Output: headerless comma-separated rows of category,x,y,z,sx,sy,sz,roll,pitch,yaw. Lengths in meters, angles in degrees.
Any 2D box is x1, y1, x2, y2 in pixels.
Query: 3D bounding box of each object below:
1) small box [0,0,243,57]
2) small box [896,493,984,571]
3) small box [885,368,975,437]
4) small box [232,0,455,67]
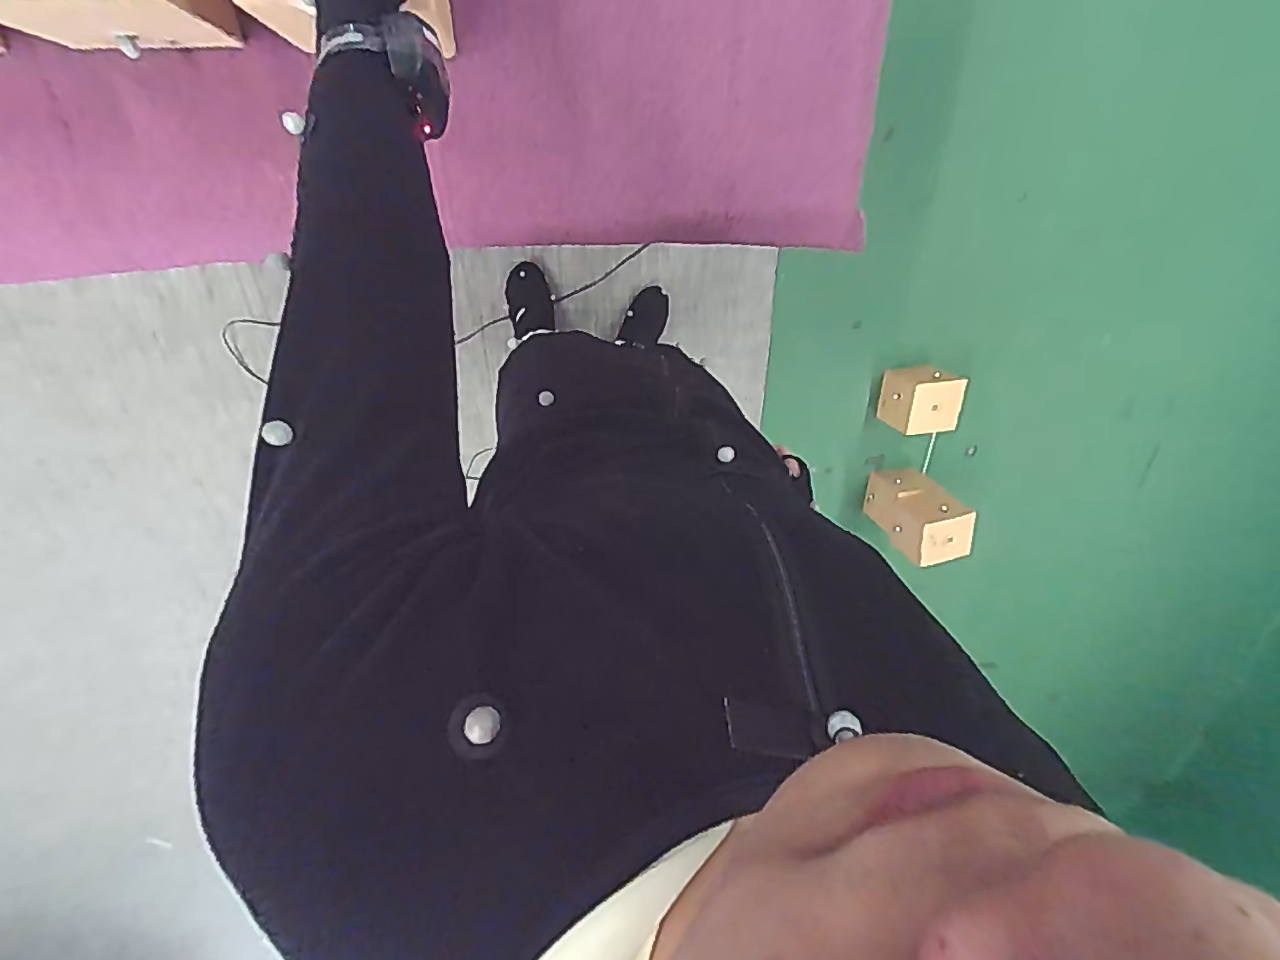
small box,-0.495,-0.495,0.468,0.168,0.176,0.179,-7,119,-7
small box,0.956,0.160,1.734,0.179,0.176,0.168,-14,118,-4
small box,0.904,-0.247,1.704,0.179,0.176,0.168,-7,118,-9
small box,-0.277,-0.514,0.502,0.168,0.176,0.179,-5,117,-8
